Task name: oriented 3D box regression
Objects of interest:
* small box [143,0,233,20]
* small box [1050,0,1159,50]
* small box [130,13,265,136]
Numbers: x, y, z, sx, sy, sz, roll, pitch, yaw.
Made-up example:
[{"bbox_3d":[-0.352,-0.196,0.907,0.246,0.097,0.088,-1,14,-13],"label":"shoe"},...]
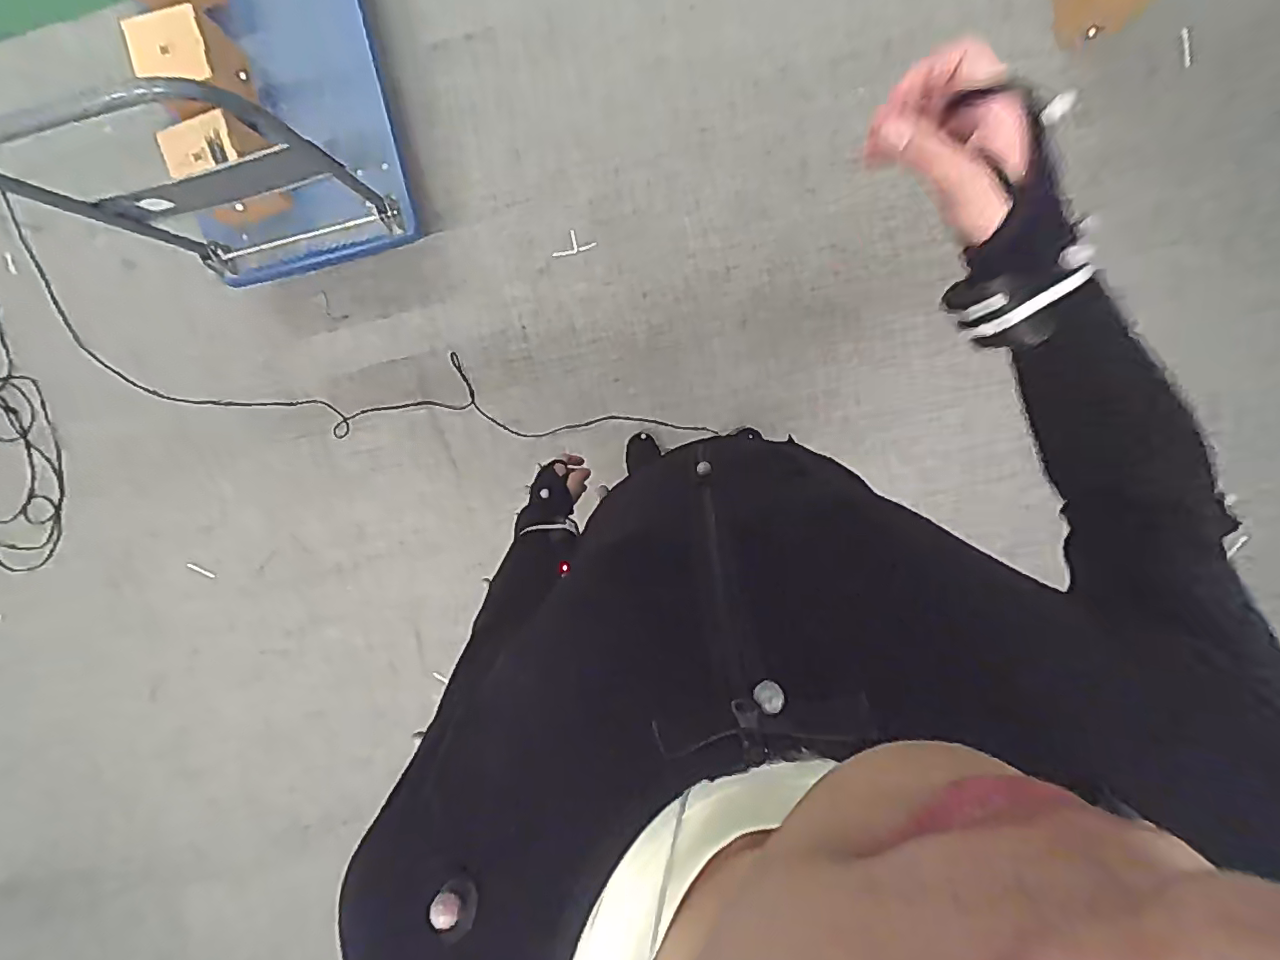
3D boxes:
[{"bbox_3d":[-1.148,-1.258,1.307,0.179,0.176,0.168,-13,96,3],"label":"small box"},{"bbox_3d":[1.199,-1.268,1.396,0.168,0.176,0.179,-8,95,4],"label":"small box"},{"bbox_3d":[-1.081,-0.987,1.334,0.179,0.176,0.168,-12,95,2],"label":"small box"}]
